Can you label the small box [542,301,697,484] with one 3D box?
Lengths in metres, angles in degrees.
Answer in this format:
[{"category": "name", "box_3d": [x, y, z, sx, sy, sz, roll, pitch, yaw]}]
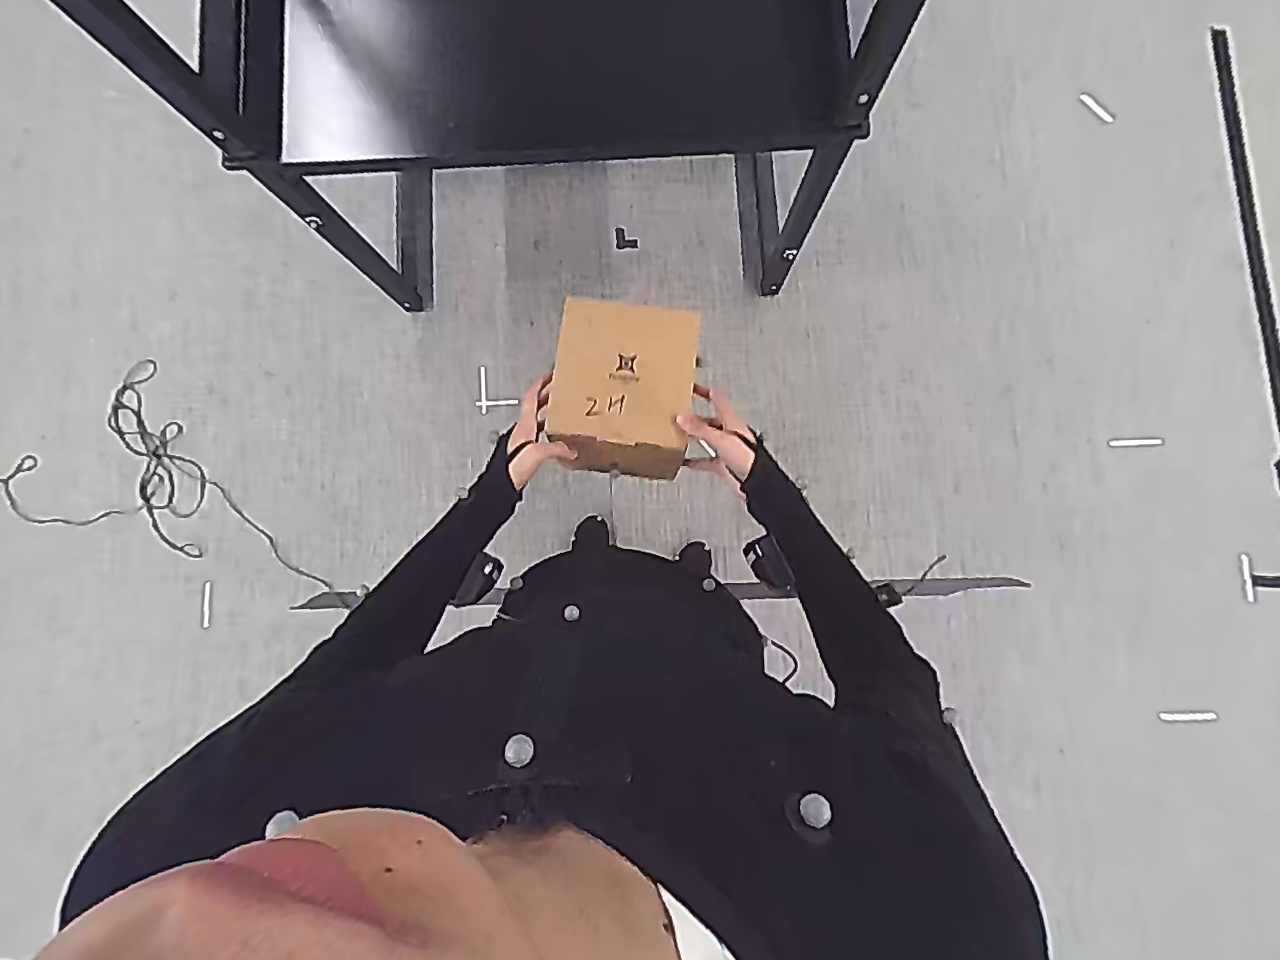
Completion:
[{"category": "small box", "box_3d": [-0.026, -0.105, 0.713, 0.168, 0.176, 0.179, 7, 77, 0]}]
